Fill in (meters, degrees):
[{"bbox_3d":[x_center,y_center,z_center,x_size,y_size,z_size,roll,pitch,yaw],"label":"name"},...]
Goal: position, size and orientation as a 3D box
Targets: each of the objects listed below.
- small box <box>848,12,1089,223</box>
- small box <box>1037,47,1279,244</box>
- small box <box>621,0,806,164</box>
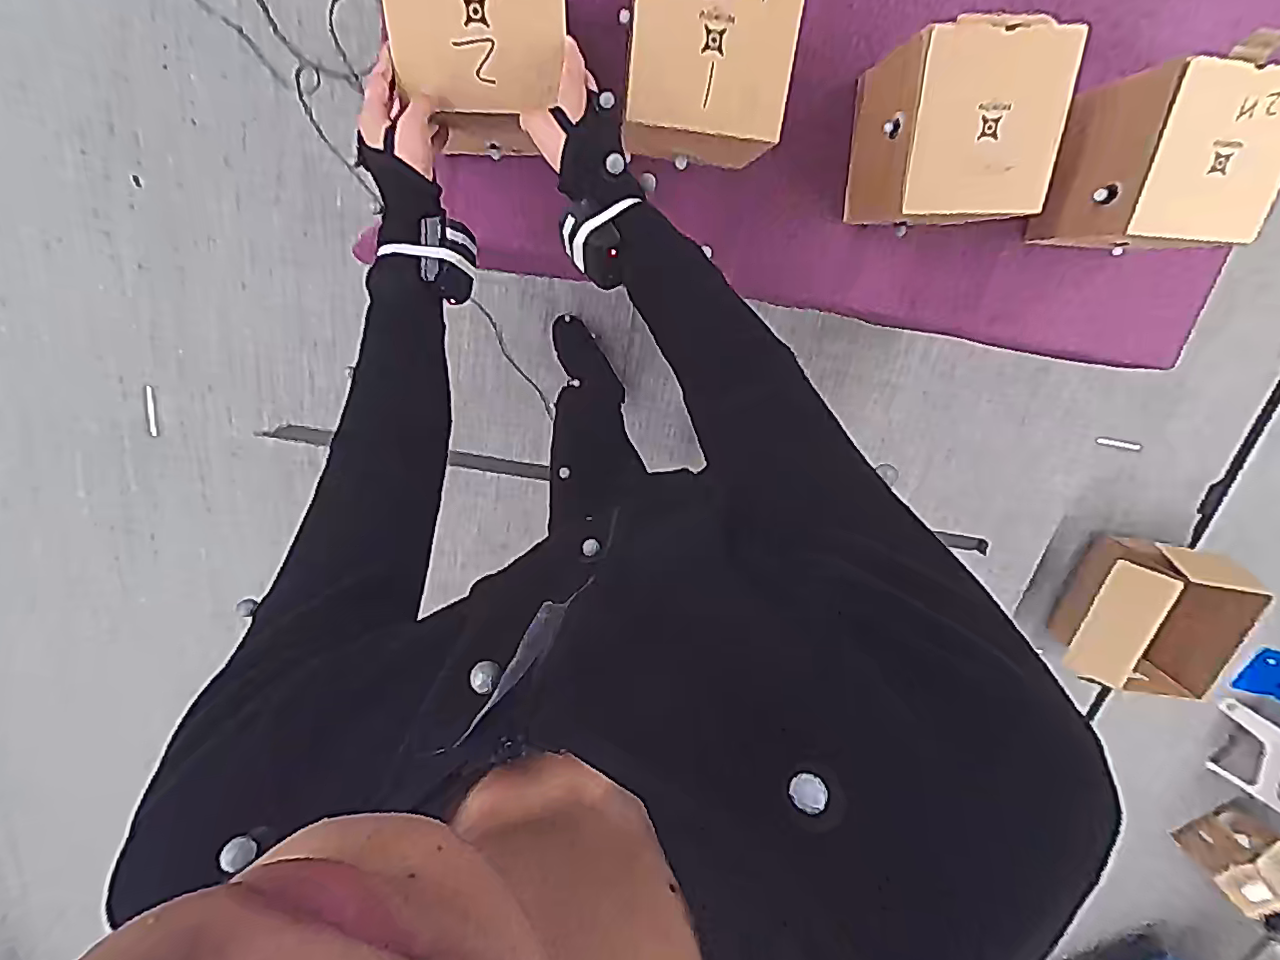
[{"bbox_3d":[0.366,-0.411,0.642,0.168,0.176,0.179,-1,112,-3],"label":"small box"},{"bbox_3d":[0.641,-0.391,0.666,0.168,0.176,0.179,2,111,-5],"label":"small box"},{"bbox_3d":[0.070,-0.470,0.596,0.168,0.176,0.179,4,112,-5],"label":"small box"}]
